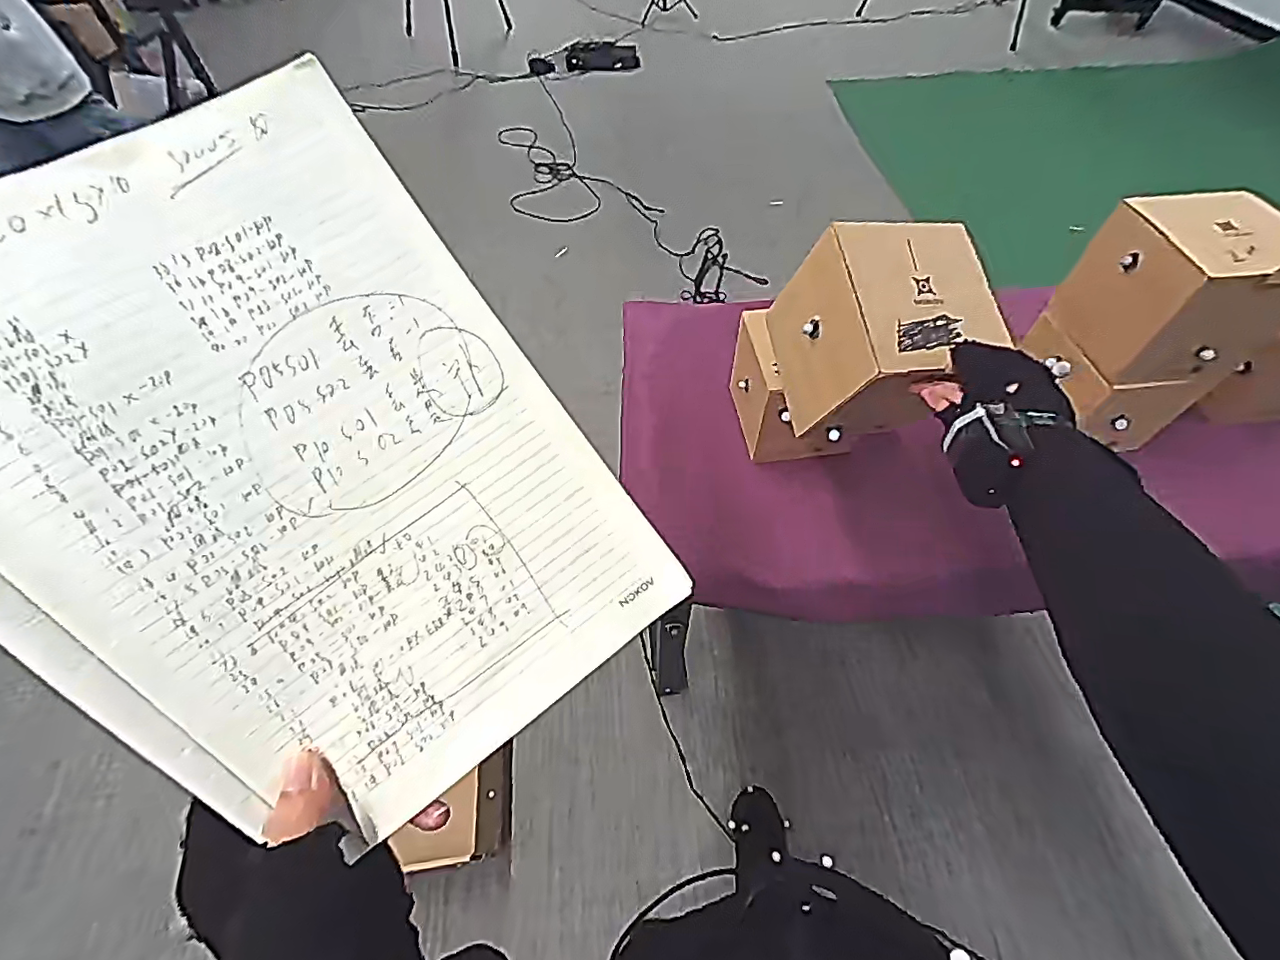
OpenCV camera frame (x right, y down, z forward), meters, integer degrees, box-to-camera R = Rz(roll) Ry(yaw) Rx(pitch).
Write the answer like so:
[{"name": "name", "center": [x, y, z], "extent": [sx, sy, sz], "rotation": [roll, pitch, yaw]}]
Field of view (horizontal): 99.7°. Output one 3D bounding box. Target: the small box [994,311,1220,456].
[{"name": "small box", "center": [0.711, -0.151, 0.851], "extent": [0.168, 0.176, 0.179], "rotation": [-6, 55, -3]}]

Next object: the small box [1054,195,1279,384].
[{"name": "small box", "center": [0.710, -0.250, 0.719], "extent": [0.168, 0.176, 0.179], "rotation": [-4, 55, 0]}]

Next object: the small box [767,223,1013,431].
[{"name": "small box", "center": [0.268, -0.164, 0.623], "extent": [0.168, 0.176, 0.179], "rotation": [-6, 73, -14]}]
